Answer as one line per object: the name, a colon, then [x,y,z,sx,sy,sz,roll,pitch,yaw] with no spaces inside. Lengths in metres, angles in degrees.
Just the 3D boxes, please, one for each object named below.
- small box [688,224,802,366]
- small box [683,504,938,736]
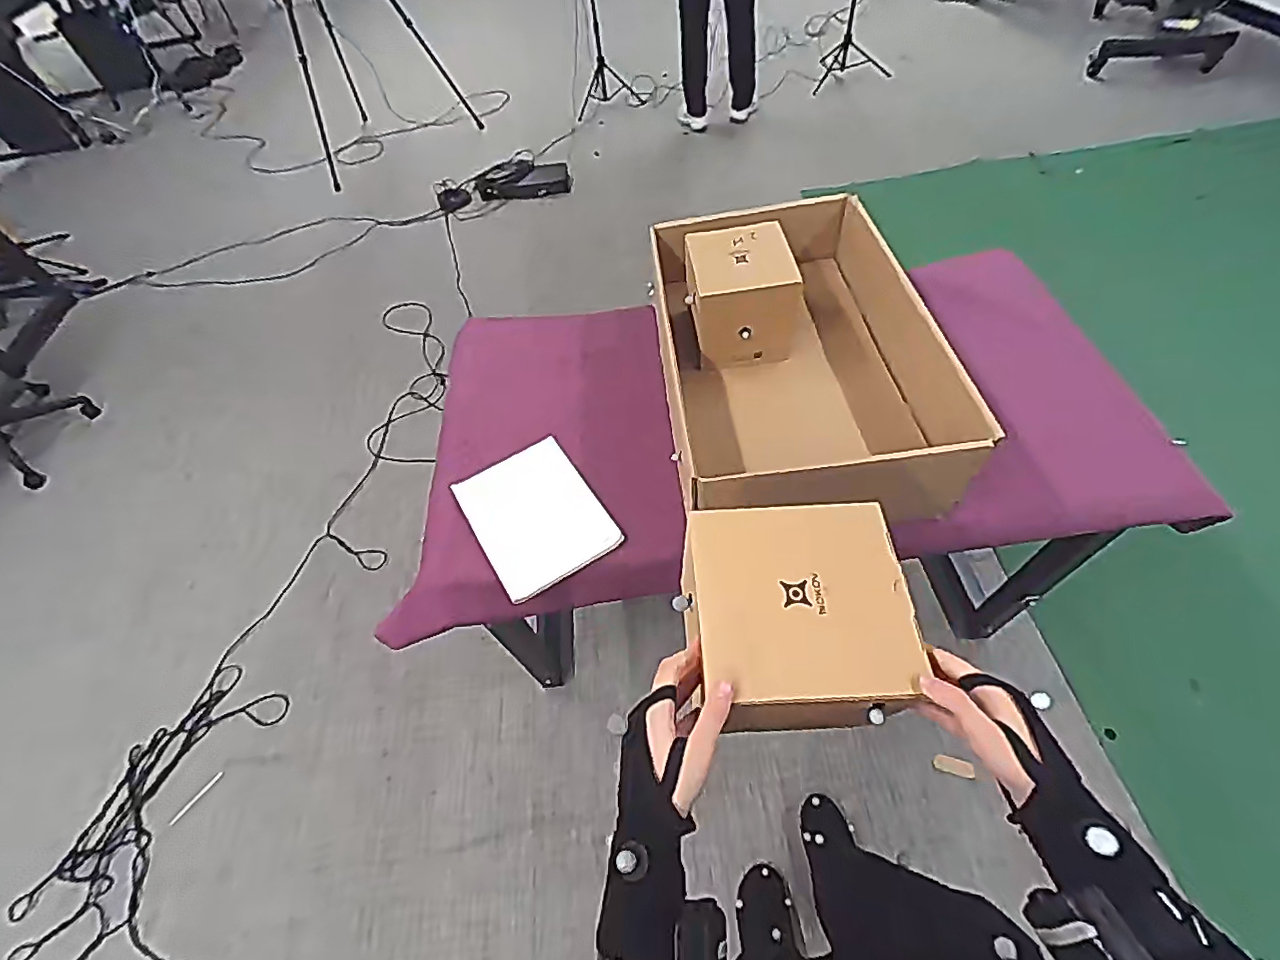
small box: [0.180,-0.321,0.967,0.168,0.176,0.179,-7,56,3]
small box: [0.133,0.137,0.507,0.179,0.176,0.168,-3,57,-1]
